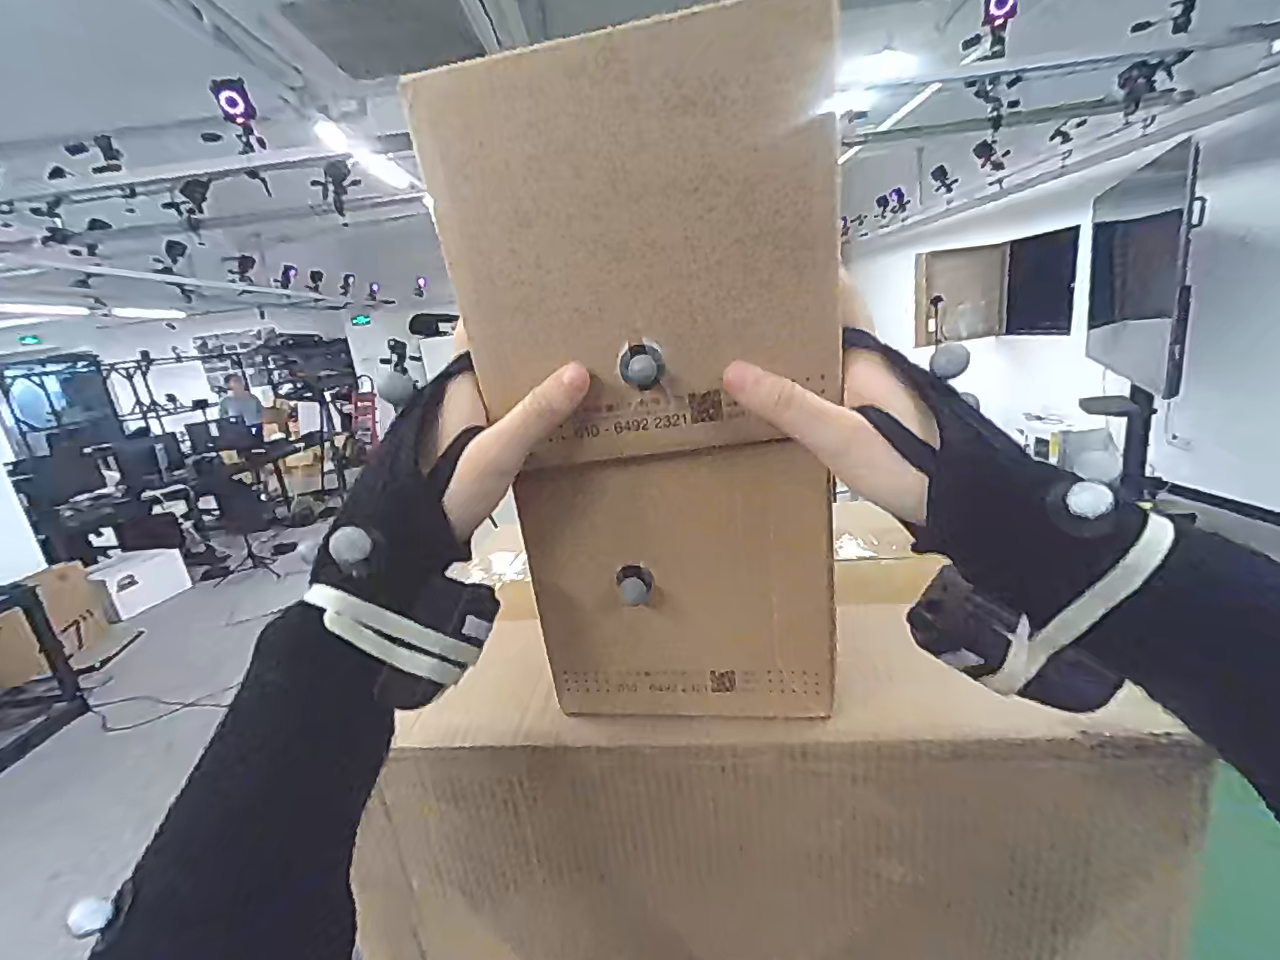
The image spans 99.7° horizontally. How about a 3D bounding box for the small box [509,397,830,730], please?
[{"bbox_3d":[0.033,0.047,0.374,0.168,0.176,0.179,-4,17,11],"label":"small box"}]
